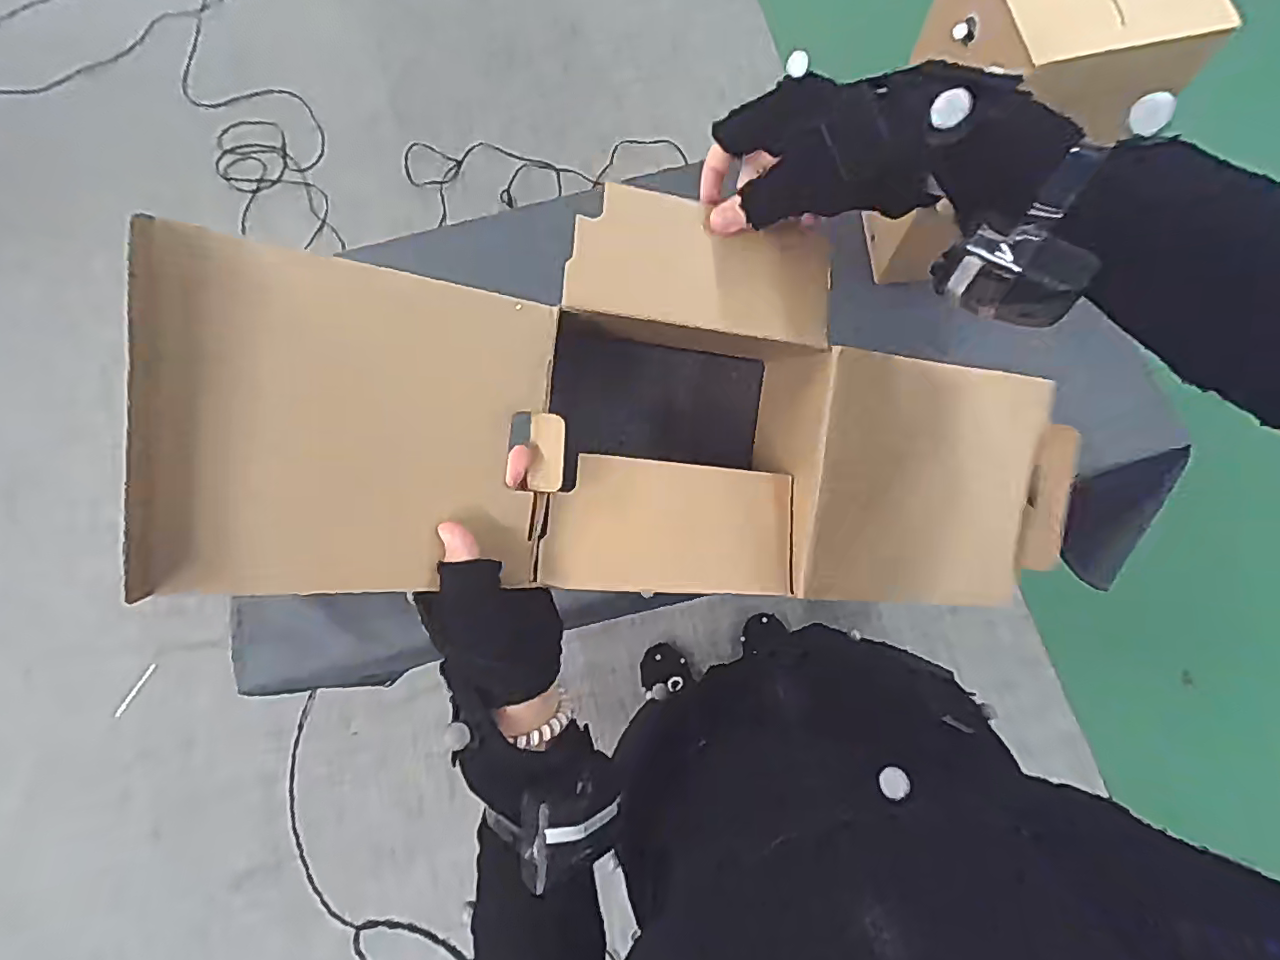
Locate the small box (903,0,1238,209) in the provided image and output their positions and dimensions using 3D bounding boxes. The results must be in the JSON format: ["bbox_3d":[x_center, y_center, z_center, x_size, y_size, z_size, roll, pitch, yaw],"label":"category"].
[{"bbox_3d":[0.385,-0.405,0.528,0.168,0.176,0.179,-9,75,2],"label":"small box"}]

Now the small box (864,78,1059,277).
[{"bbox_3d":[0.401,-0.380,0.690,0.179,0.176,0.168,-3,75,3],"label":"small box"}]
